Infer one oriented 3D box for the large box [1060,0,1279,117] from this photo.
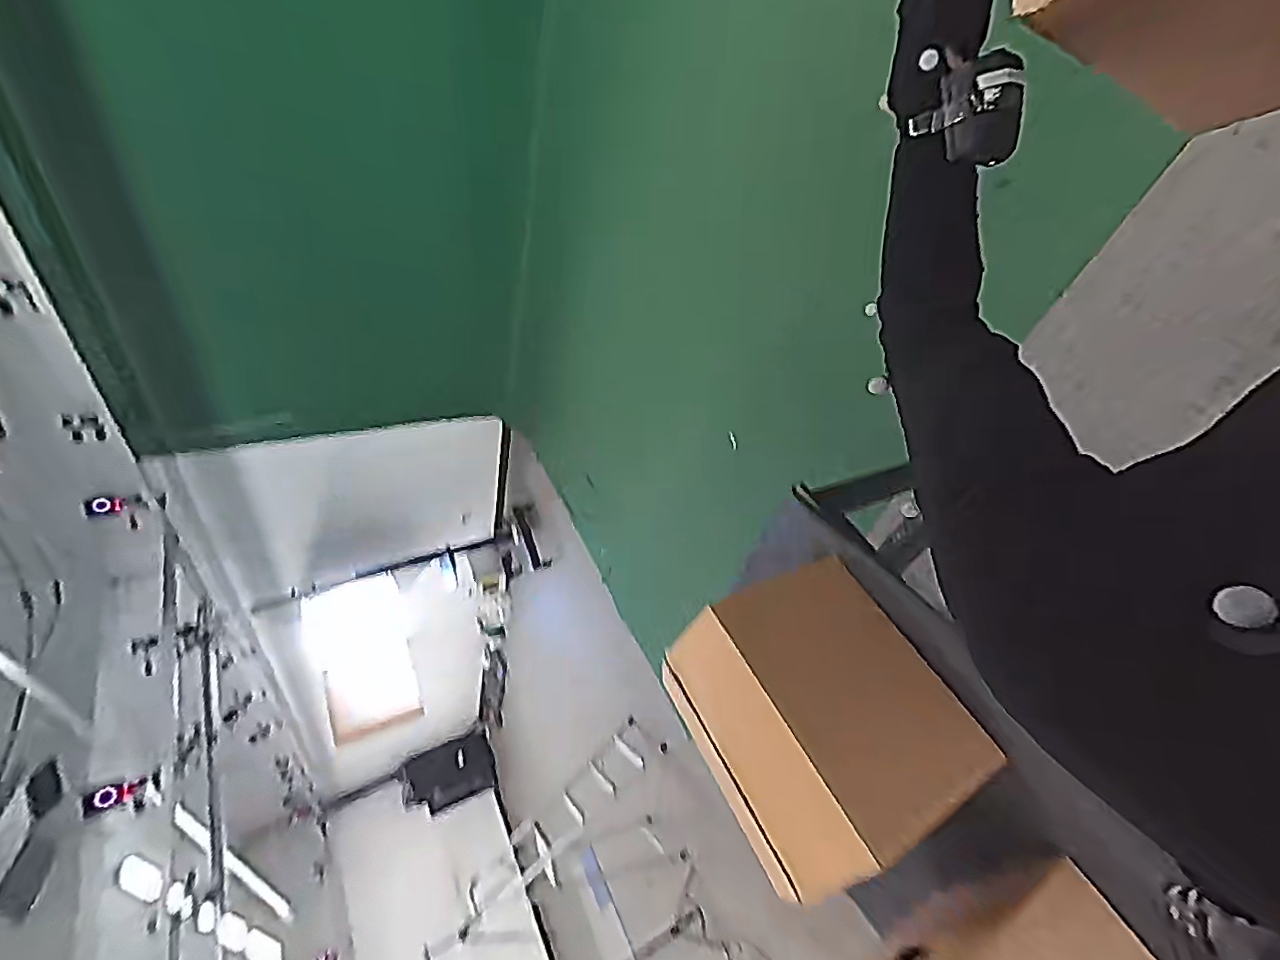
[{"bbox_3d":[0.488,-0.458,0.247,0.408,0.320,0.320,12,104,58],"label":"large box"}]
